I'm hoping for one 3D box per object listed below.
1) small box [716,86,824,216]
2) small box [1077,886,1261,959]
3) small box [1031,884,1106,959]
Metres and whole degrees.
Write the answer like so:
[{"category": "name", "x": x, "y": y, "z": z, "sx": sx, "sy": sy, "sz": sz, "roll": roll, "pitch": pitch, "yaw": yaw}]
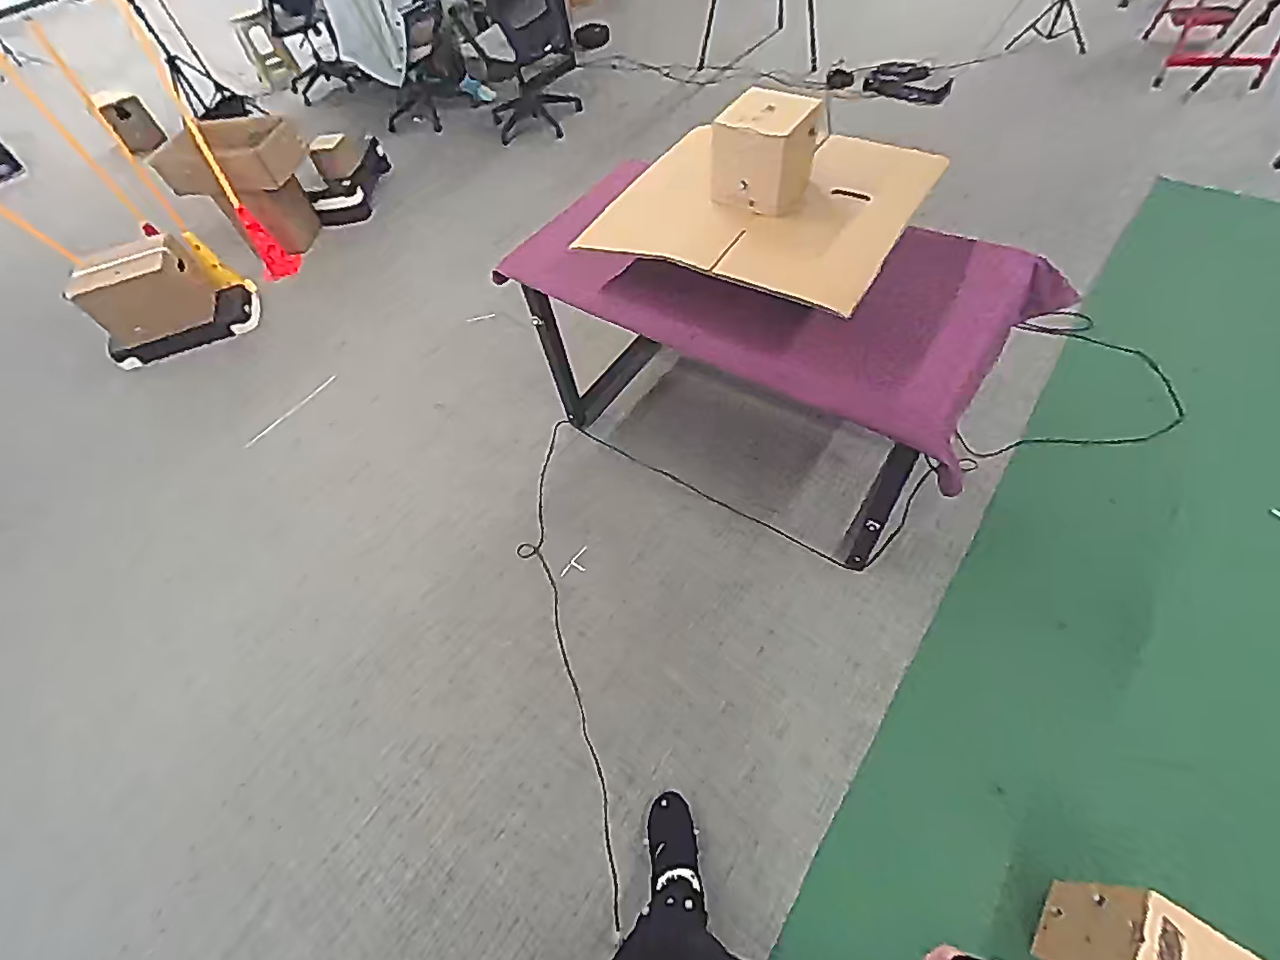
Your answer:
[{"category": "small box", "x": 0.274, "y": -0.715, "z": 1.179, "sx": 0.168, "sy": 0.176, "sz": 0.179, "roll": 28, "pitch": 65, "yaw": 22}, {"category": "small box", "x": 0.912, "y": 0.847, "z": 0.936, "sx": 0.179, "sy": 0.176, "sz": 0.168, "roll": 30, "pitch": 65, "yaw": 24}, {"category": "small box", "x": 0.930, "y": 0.938, "z": 1.071, "sx": 0.179, "sy": 0.176, "sz": 0.168, "roll": 30, "pitch": 65, "yaw": 25}]
